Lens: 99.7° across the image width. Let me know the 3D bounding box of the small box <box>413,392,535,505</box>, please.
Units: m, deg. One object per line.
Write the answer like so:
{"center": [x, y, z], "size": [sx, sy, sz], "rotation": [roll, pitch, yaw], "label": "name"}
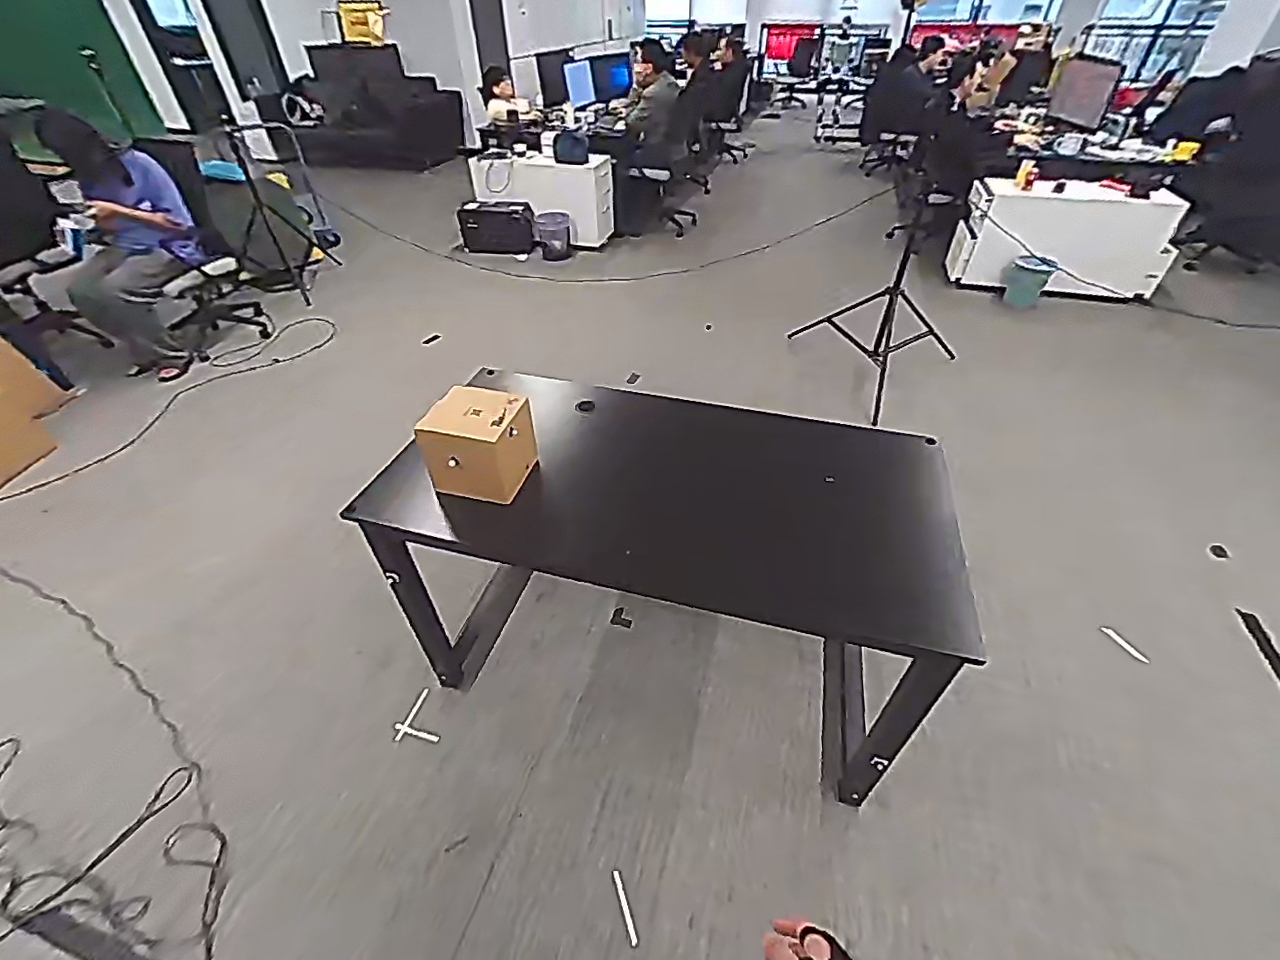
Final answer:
{"center": [-0.340, -0.066, 1.143], "size": [0.179, 0.176, 0.168], "rotation": [9, 42, 11], "label": "small box"}
